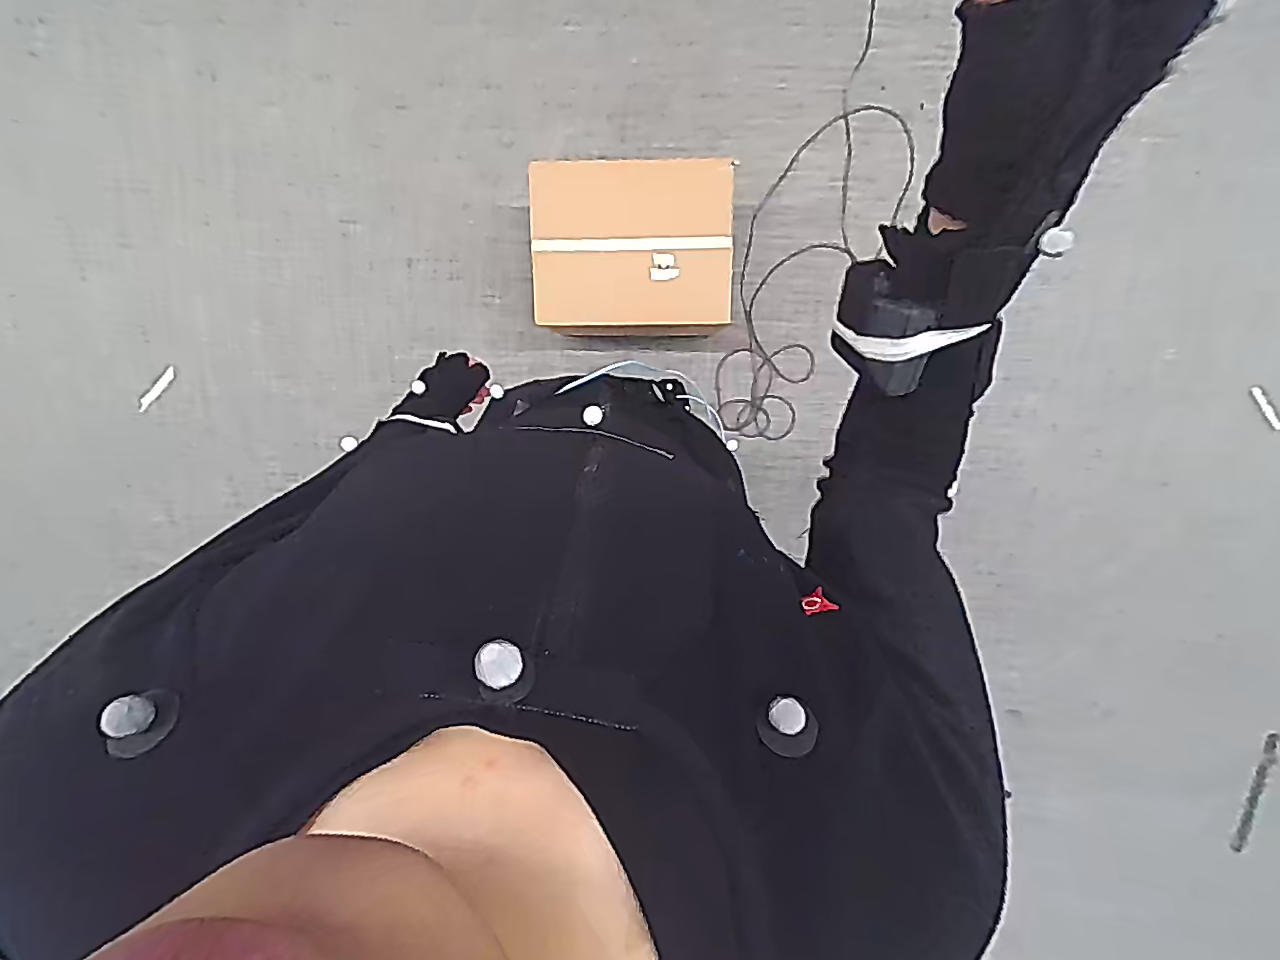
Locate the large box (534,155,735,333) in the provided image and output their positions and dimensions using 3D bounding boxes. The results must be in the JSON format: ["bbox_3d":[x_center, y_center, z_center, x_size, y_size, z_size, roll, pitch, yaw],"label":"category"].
[{"bbox_3d":[-0.008,-0.511,1.235,0.408,0.320,0.320,0,102,1],"label":"large box"}]
